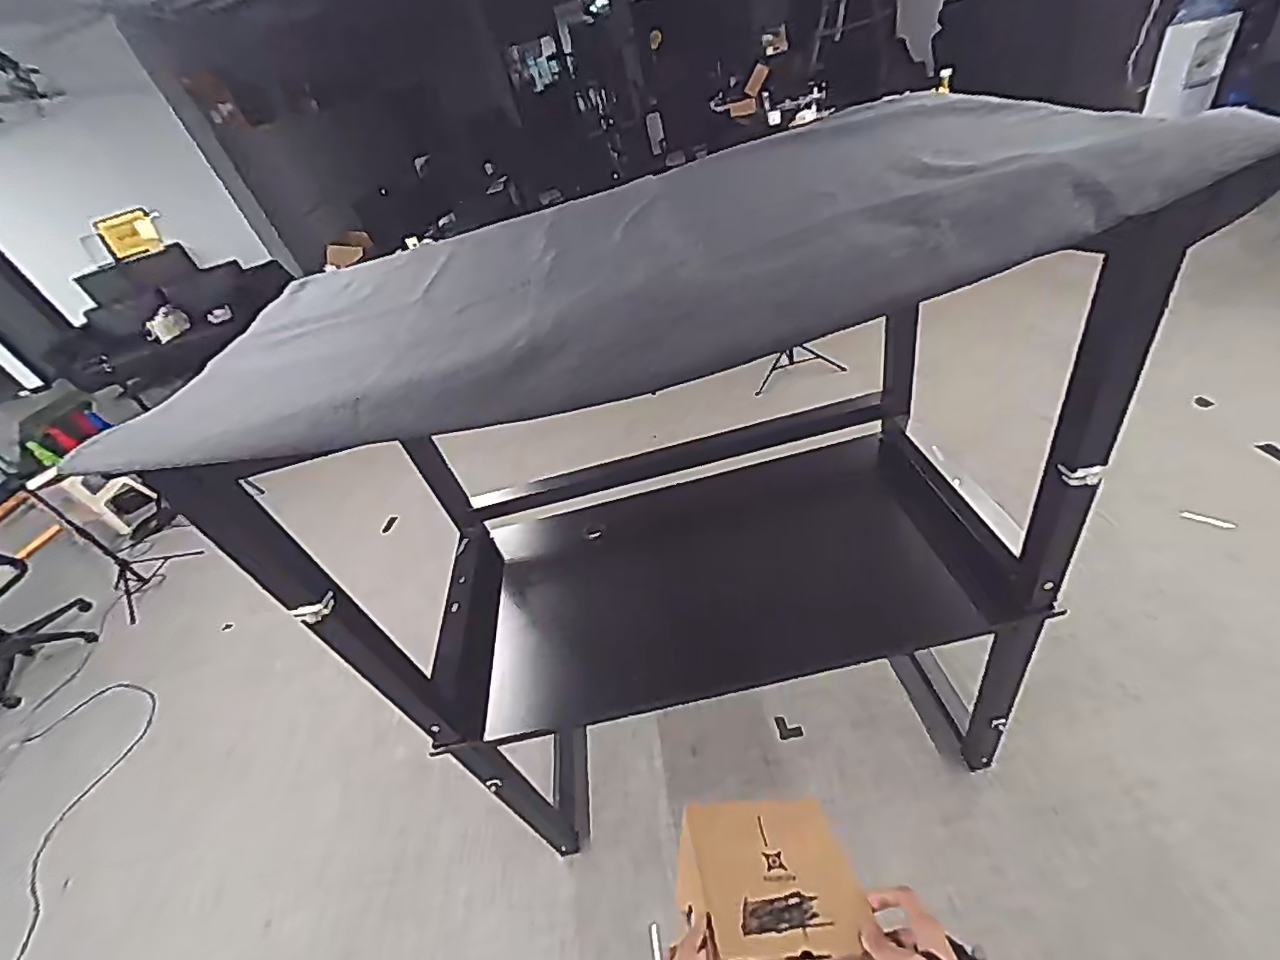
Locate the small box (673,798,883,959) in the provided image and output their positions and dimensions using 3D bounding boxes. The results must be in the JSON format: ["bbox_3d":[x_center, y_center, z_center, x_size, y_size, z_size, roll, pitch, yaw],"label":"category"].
[{"bbox_3d":[0.133,0.484,0.587,0.168,0.176,0.179,3,14,-6],"label":"small box"}]
